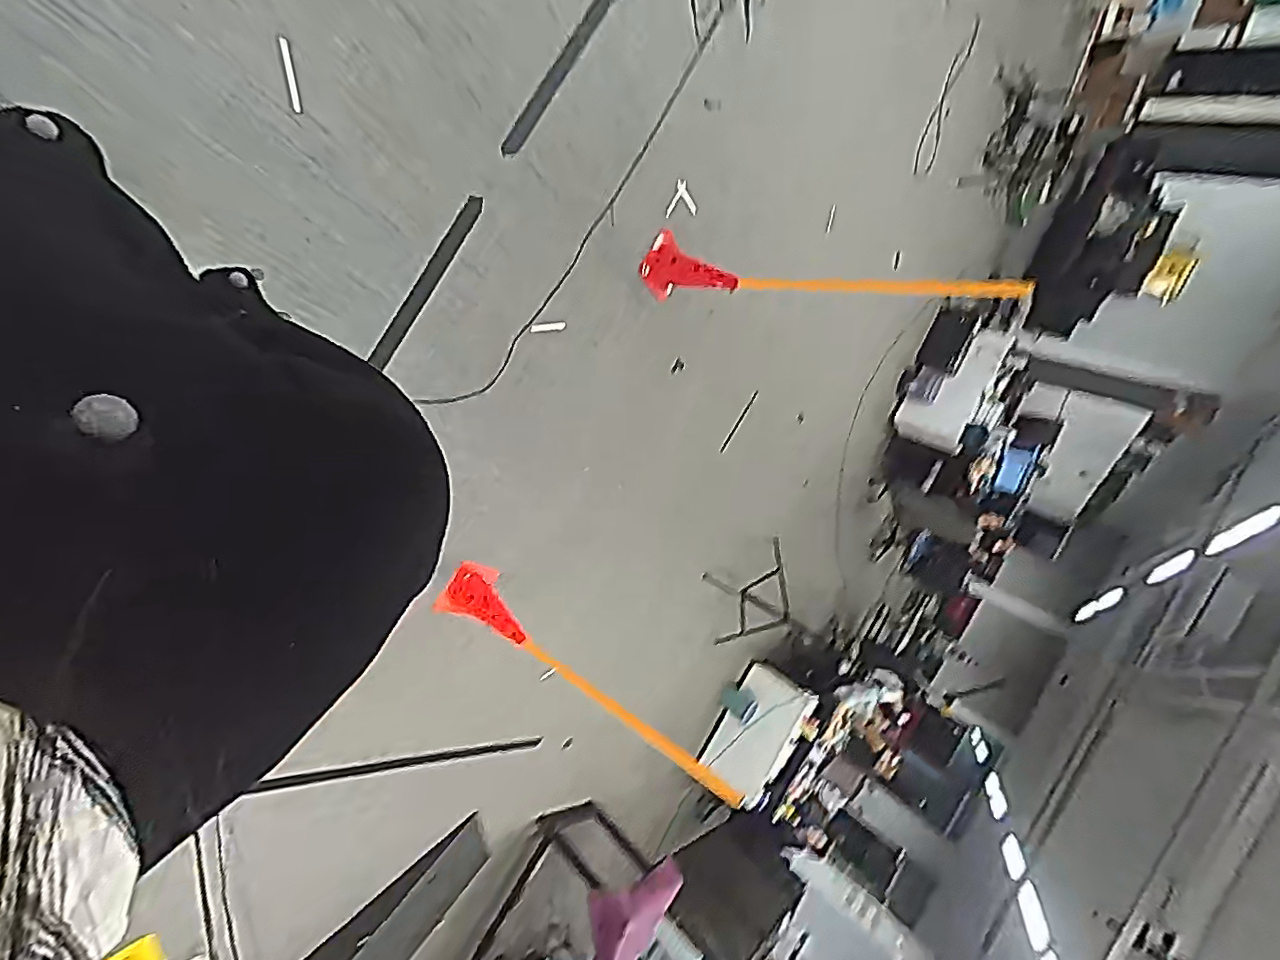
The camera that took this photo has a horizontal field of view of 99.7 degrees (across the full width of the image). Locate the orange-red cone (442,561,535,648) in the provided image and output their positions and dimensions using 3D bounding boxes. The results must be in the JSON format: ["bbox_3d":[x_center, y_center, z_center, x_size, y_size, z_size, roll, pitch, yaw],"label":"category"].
[{"bbox_3d":[-0.486,0.469,1.881,0.199,0.360,0.198,-57,145,-4],"label":"orange-red cone"}]
